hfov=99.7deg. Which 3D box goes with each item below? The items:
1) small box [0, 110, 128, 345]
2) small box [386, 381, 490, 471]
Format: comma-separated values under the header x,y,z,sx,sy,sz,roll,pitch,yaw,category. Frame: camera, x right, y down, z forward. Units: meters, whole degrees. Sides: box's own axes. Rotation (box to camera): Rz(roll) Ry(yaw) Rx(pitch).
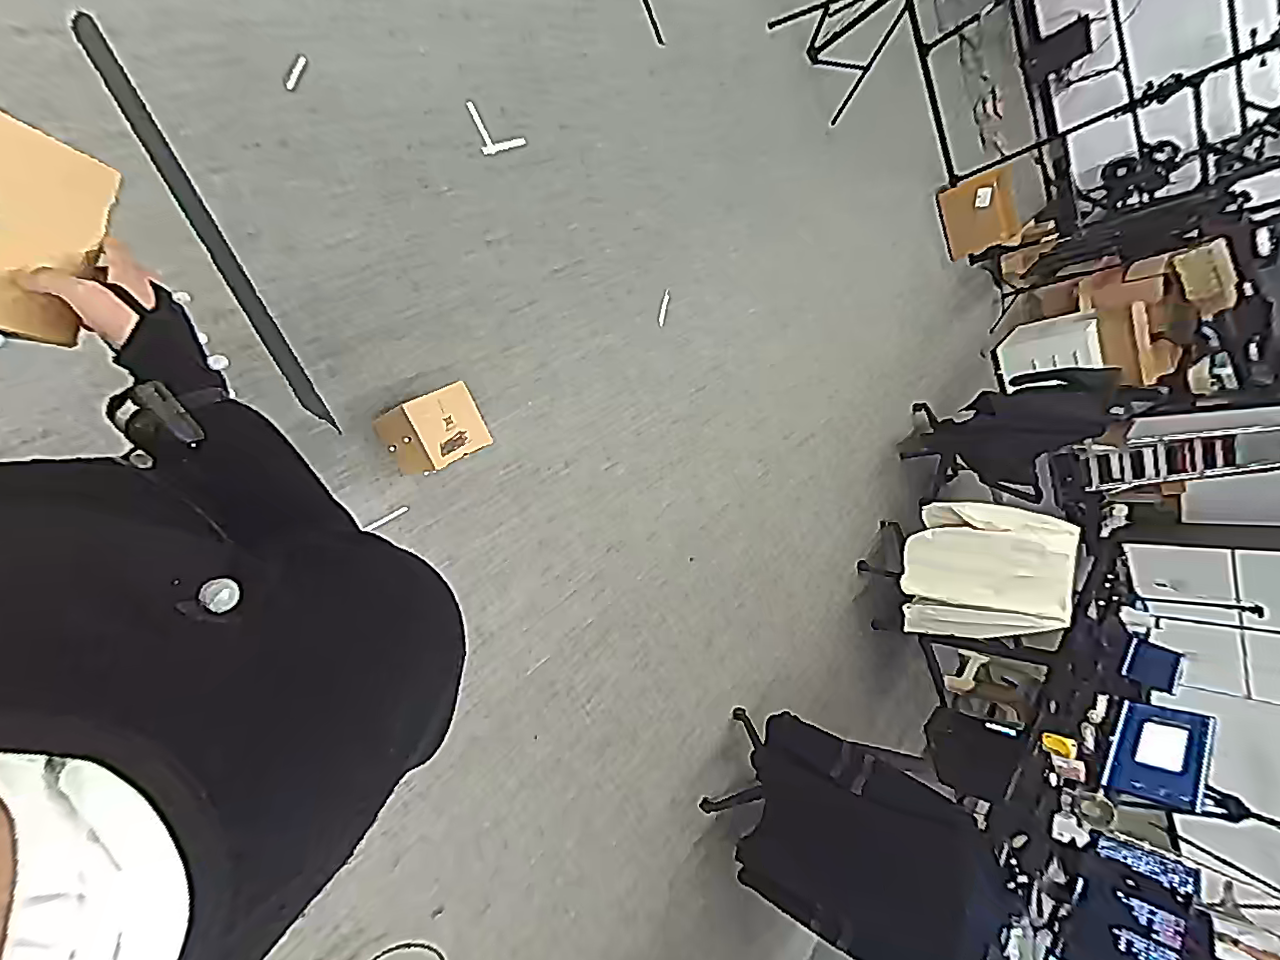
x,y,z,sx,sy,sz,roll,pitch,yaw,category
-0.586,-0.221,0.440,0.179,0.176,0.168,17,85,-66,small box
-0.519,-0.132,1.385,0.168,0.176,0.179,-34,107,-34,small box
